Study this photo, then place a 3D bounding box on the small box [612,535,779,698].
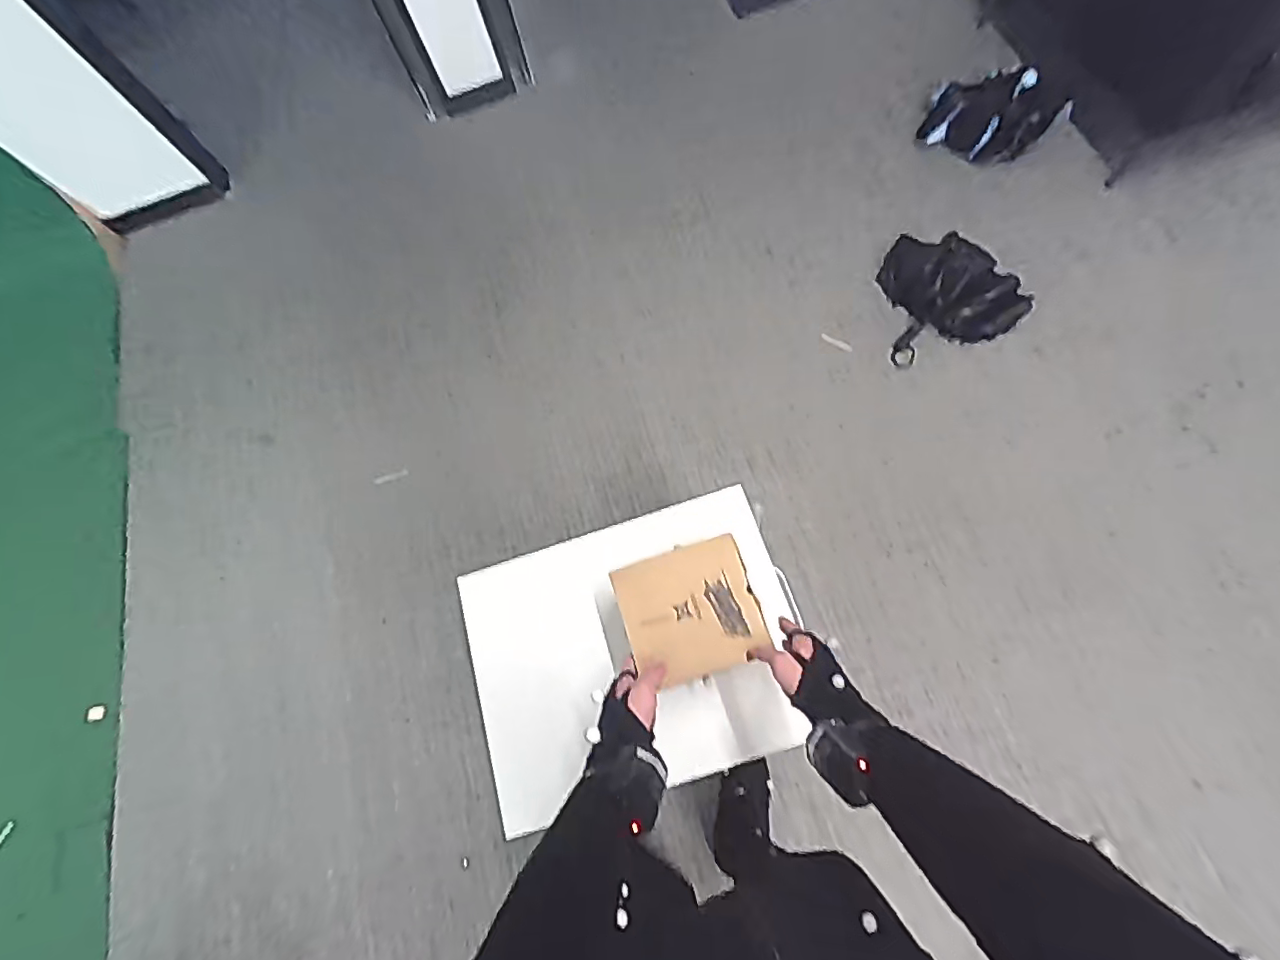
[{"bbox_3d":[0.074,0.194,0.759,0.179,0.176,0.168,-17,69,0],"label":"small box"}]
